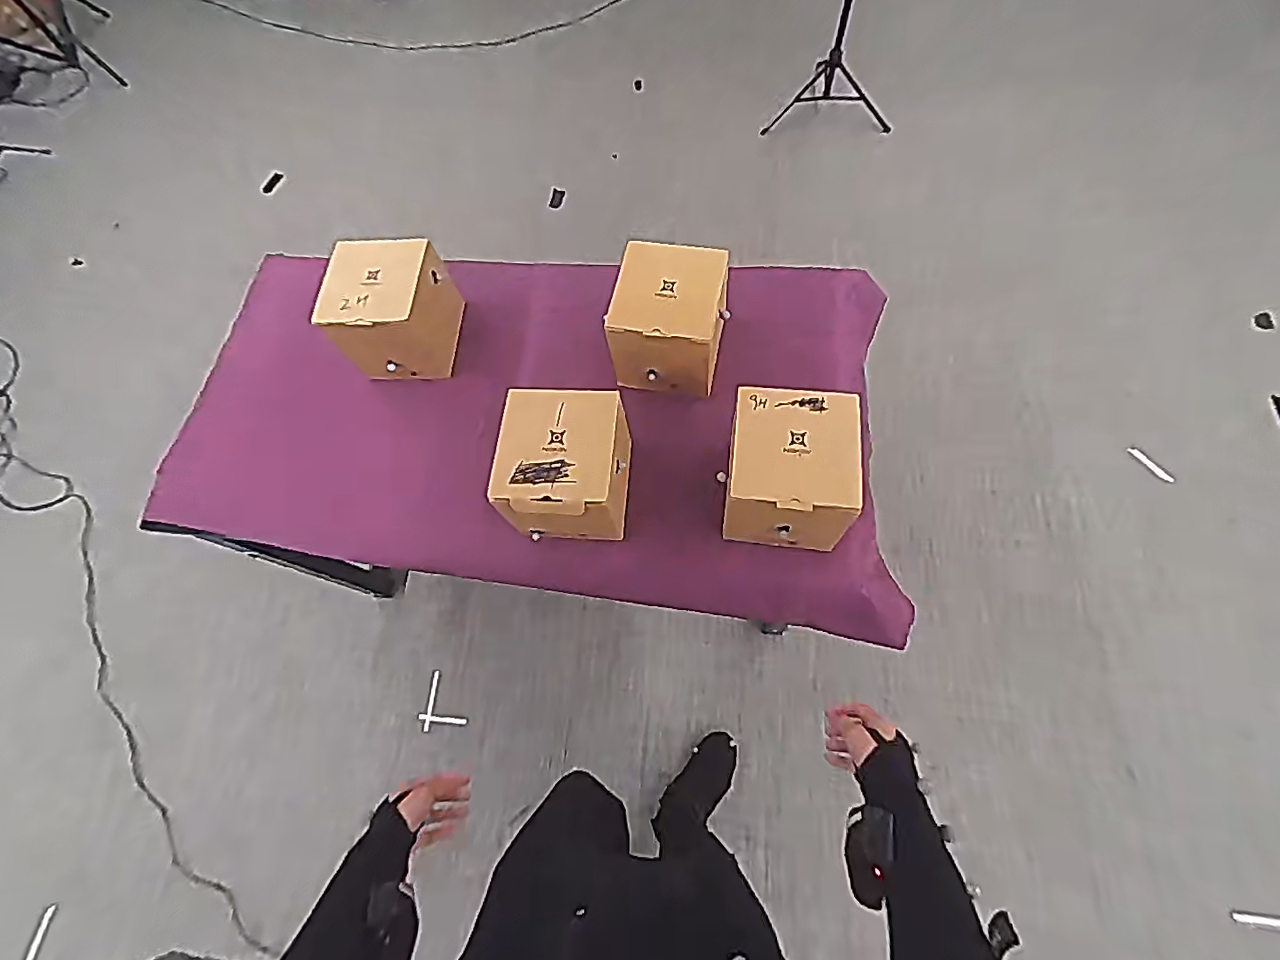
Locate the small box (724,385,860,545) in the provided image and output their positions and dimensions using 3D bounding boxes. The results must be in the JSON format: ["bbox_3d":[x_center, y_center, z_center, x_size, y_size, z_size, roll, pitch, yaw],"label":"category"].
[{"bbox_3d":[0.214,-0.015,0.789,0.168,0.176,0.179,6,66,8],"label":"small box"}]

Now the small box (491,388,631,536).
[{"bbox_3d":[-0.107,-0.021,0.822,0.168,0.176,0.179,2,67,6],"label":"small box"}]

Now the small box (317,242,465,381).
[{"bbox_3d":[-0.431,-0.299,0.971,0.168,0.176,0.179,1,68,6],"label":"small box"}]

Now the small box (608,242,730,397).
[{"bbox_3d":[0.053,-0.267,0.915,0.168,0.176,0.179,10,70,10],"label":"small box"}]
